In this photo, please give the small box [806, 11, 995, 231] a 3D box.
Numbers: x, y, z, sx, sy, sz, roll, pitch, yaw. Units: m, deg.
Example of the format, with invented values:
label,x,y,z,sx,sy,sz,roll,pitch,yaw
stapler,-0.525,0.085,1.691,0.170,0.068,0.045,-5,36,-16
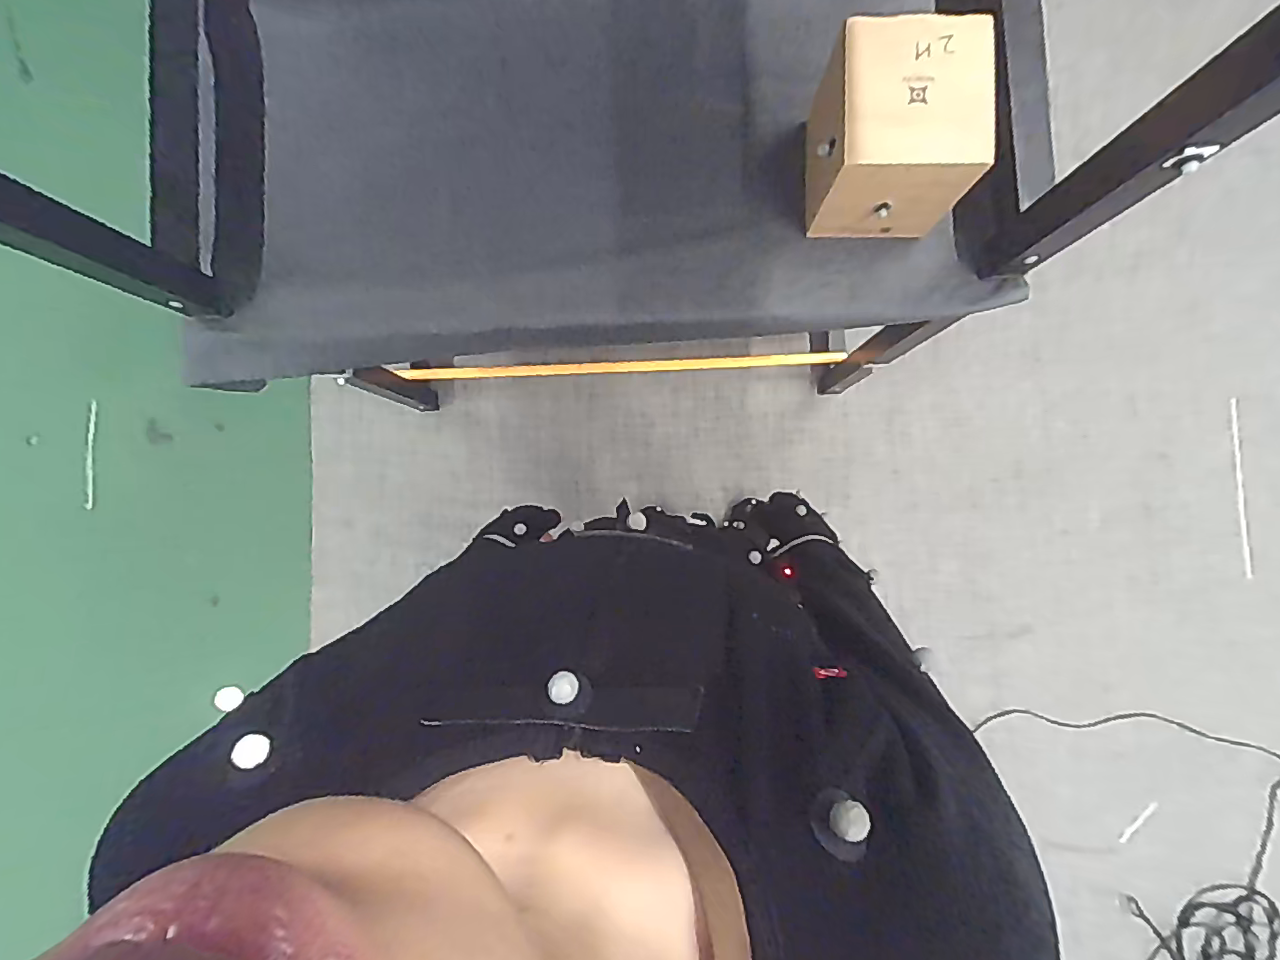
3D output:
label,x,y,z,sx,sy,sz,roll,pitch,yaw
small box,0.315,-0.438,0.685,0.168,0.176,0.179,2,87,2
